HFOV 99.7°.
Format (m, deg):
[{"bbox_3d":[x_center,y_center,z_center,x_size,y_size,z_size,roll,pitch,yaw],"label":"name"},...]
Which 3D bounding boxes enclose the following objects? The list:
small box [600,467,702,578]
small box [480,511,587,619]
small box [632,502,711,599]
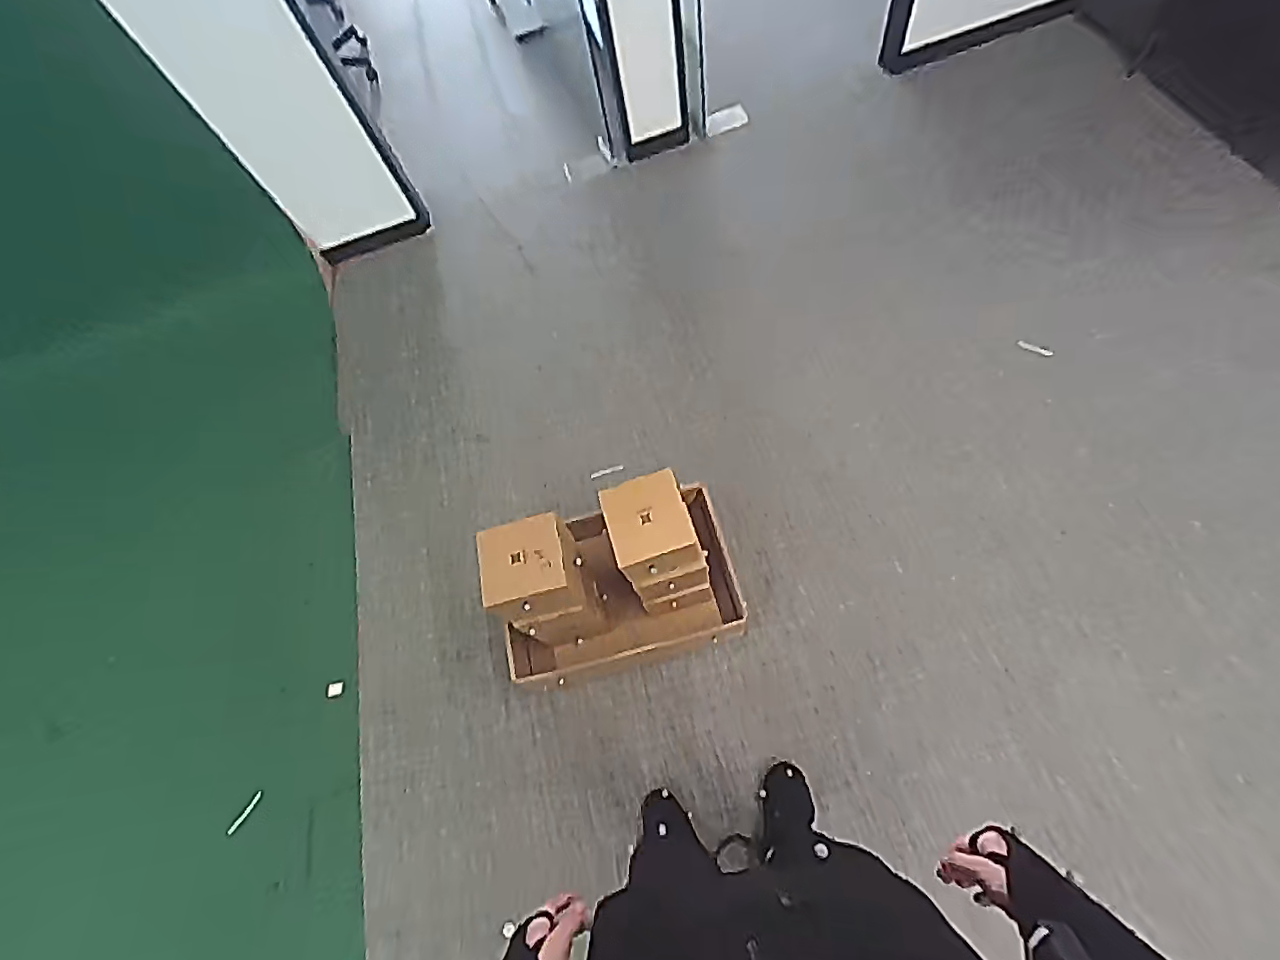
[{"bbox_3d":[0.030,0.102,1.171,0.168,0.176,0.179,-19,65,3],"label":"small box"},{"bbox_3d":[-0.228,0.190,1.170,0.179,0.176,0.168,-14,63,2],"label":"small box"},{"bbox_3d":[0.065,0.178,1.311,0.179,0.176,0.168,-18,65,2],"label":"small box"}]
